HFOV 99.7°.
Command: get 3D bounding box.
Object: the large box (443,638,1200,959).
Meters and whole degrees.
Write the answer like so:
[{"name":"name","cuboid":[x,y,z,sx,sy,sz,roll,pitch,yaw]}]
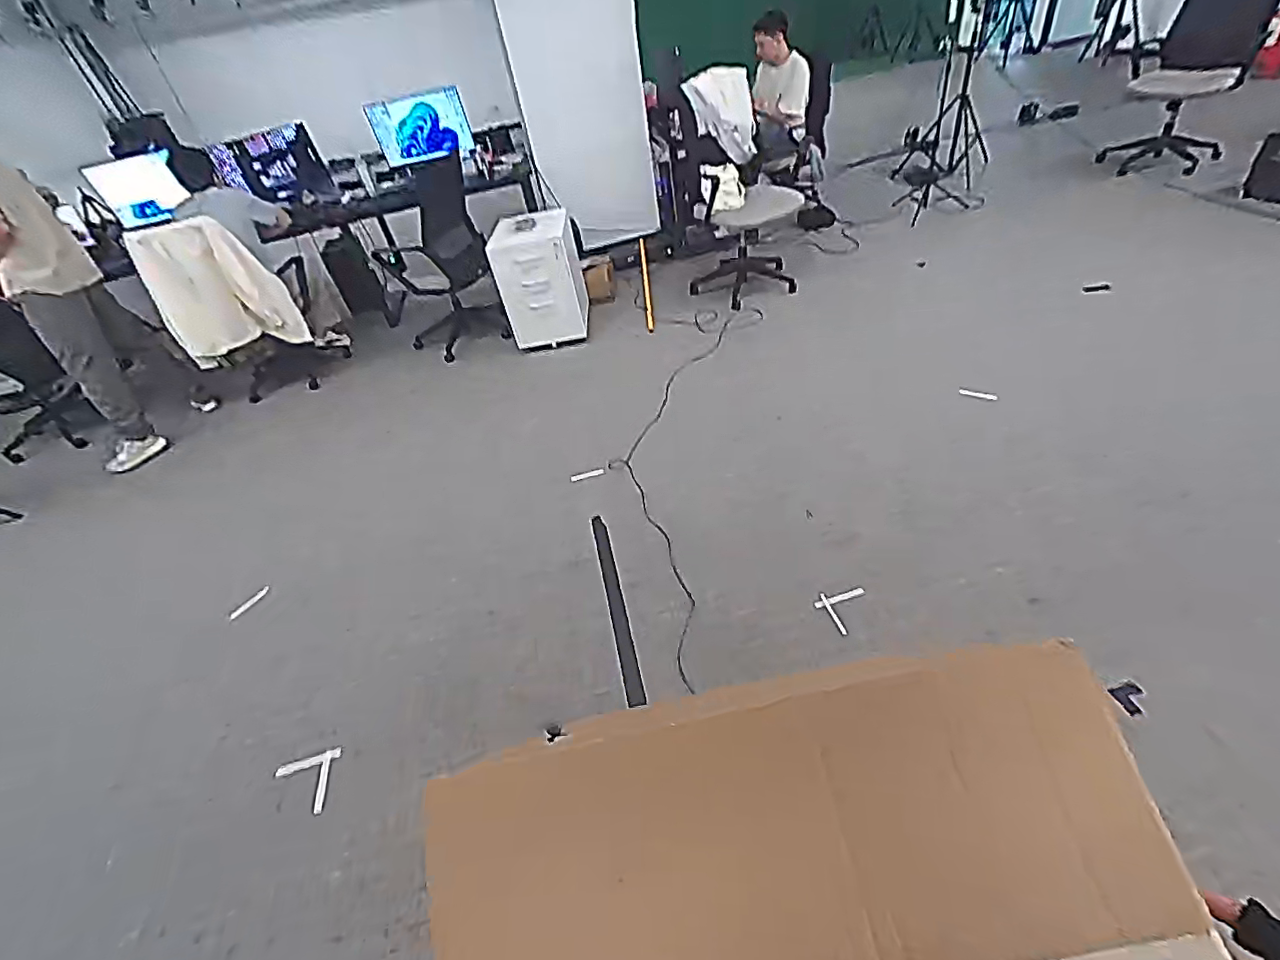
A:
[{"name":"large box","cuboid":[0.112,0.335,0.430,0.408,0.320,0.320,-14,71,2]}]
